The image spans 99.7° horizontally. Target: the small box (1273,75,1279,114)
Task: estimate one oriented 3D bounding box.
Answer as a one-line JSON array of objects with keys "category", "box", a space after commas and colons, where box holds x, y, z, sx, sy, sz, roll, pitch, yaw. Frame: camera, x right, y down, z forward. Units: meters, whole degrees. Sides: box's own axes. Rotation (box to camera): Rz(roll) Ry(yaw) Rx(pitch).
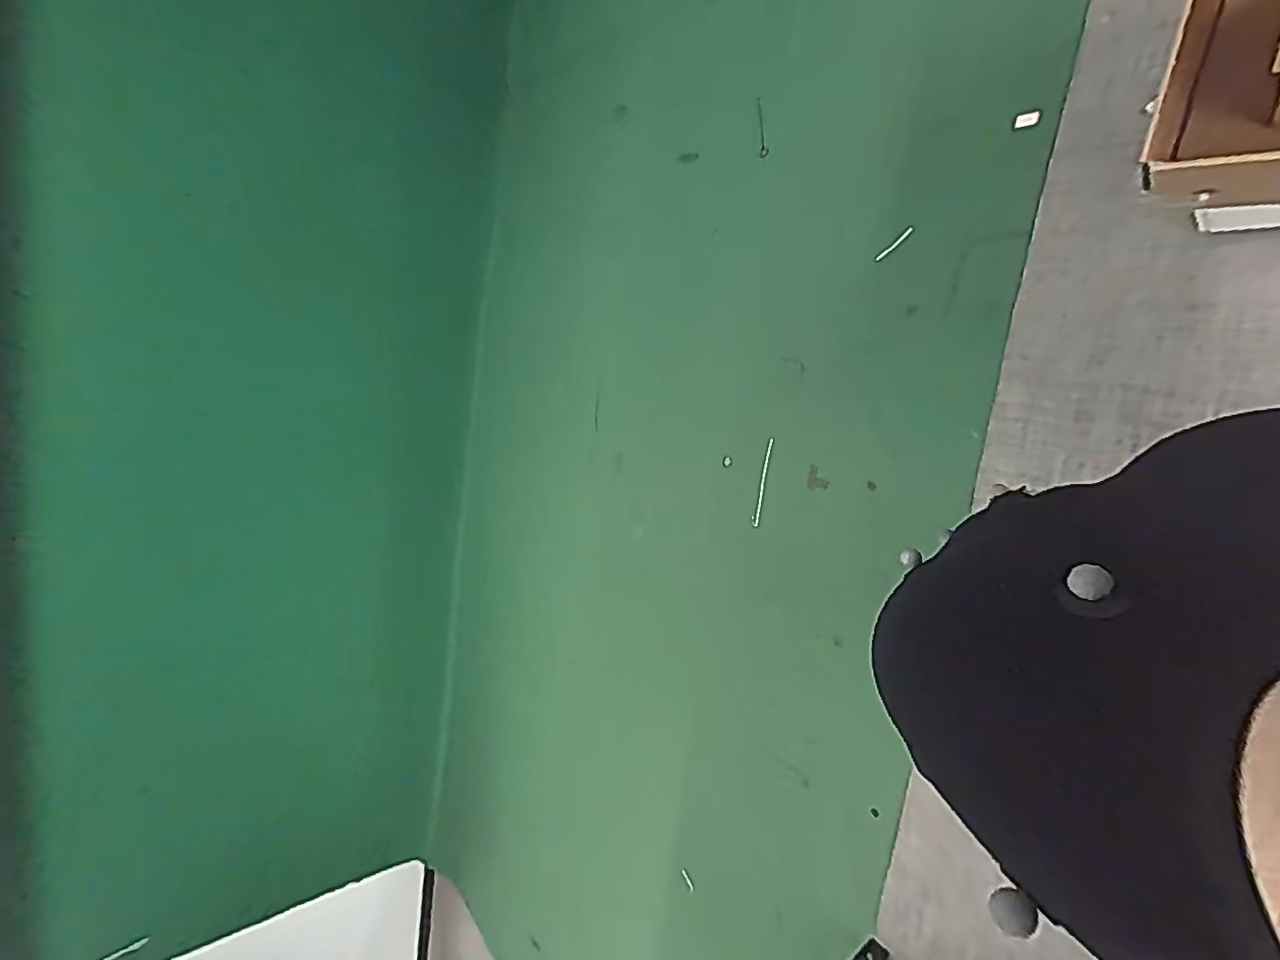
[{"category": "small box", "box": [0.728, -0.454, 0.480, 0.179, 0.176, 0.168, 23, 110, 41]}]
